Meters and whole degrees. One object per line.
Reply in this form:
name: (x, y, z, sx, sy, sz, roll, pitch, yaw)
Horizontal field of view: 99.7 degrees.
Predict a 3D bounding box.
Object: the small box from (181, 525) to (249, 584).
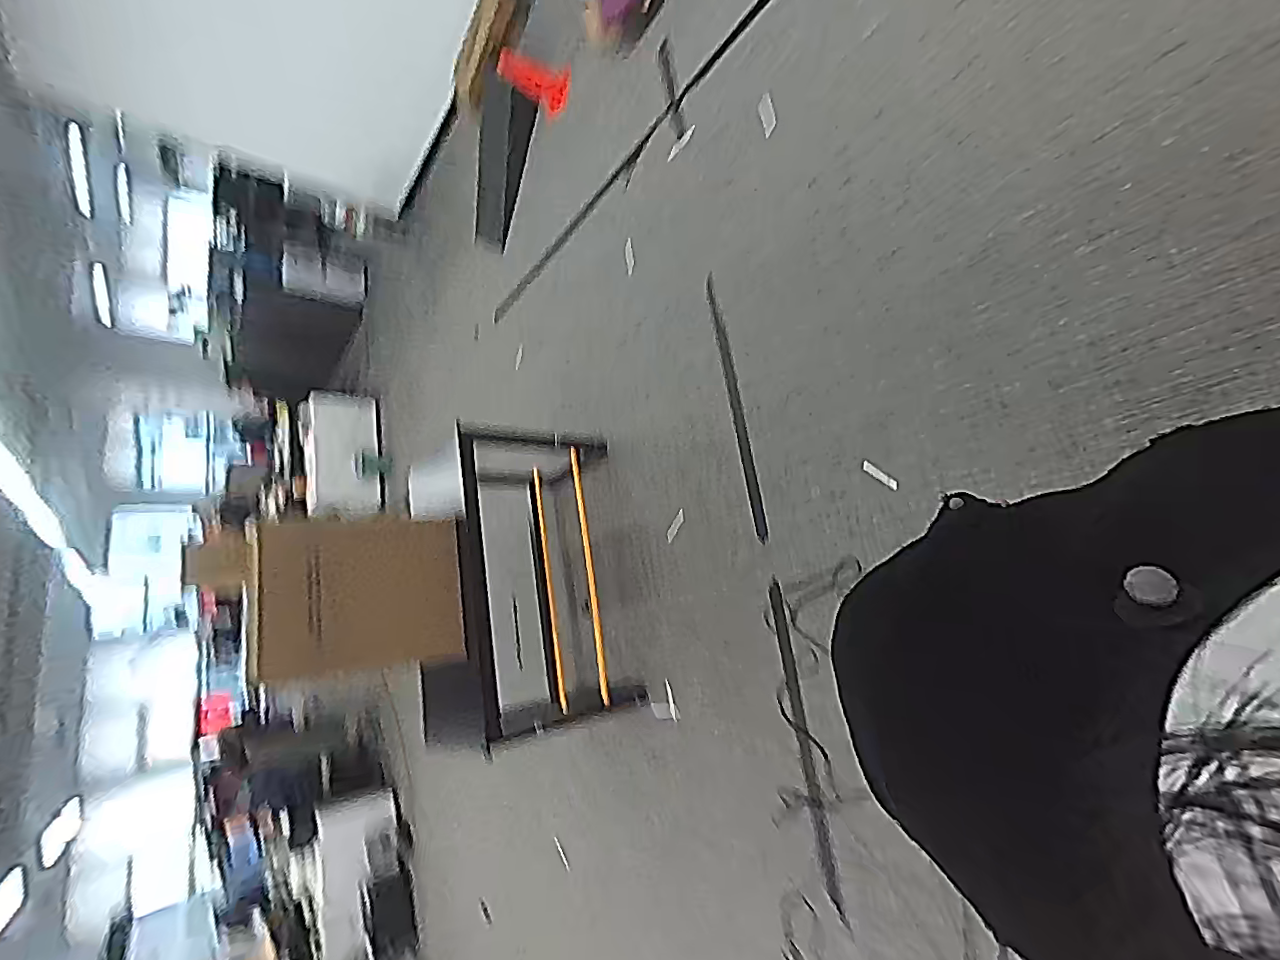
small box: (-1.404, 0.247, 1.790, 0.179, 0.176, 0.168, -26, 71, 48)
